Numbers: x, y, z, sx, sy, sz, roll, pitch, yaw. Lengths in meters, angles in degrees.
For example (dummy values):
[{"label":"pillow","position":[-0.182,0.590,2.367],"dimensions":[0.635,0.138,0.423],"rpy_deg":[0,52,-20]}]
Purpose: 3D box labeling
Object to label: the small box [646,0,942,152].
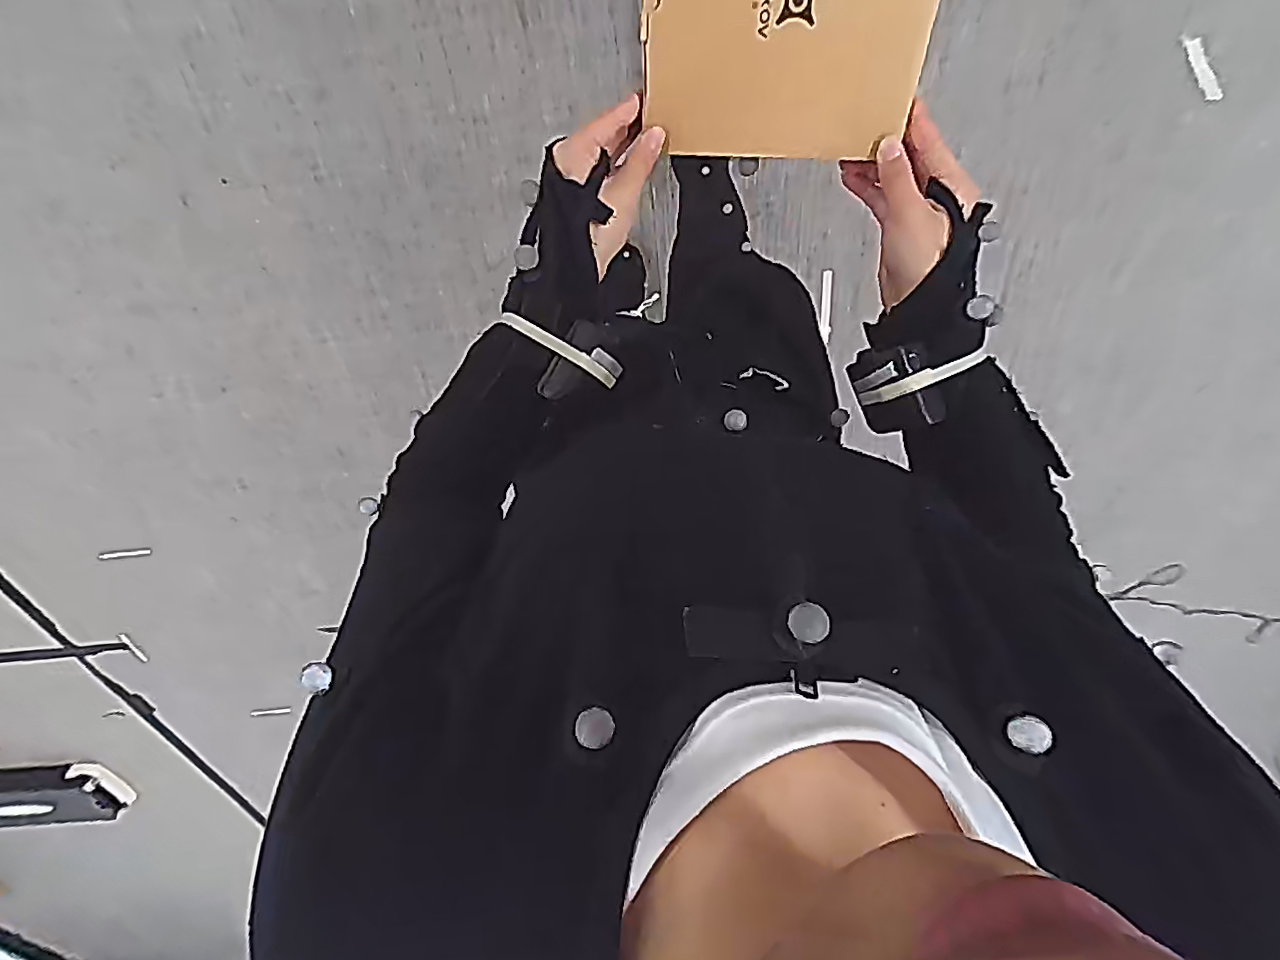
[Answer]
[{"label":"small box","position":[0.096,-0.341,0.379],"dimensions":[0.179,0.176,0.168],"rpy_deg":[3,129,2]}]
